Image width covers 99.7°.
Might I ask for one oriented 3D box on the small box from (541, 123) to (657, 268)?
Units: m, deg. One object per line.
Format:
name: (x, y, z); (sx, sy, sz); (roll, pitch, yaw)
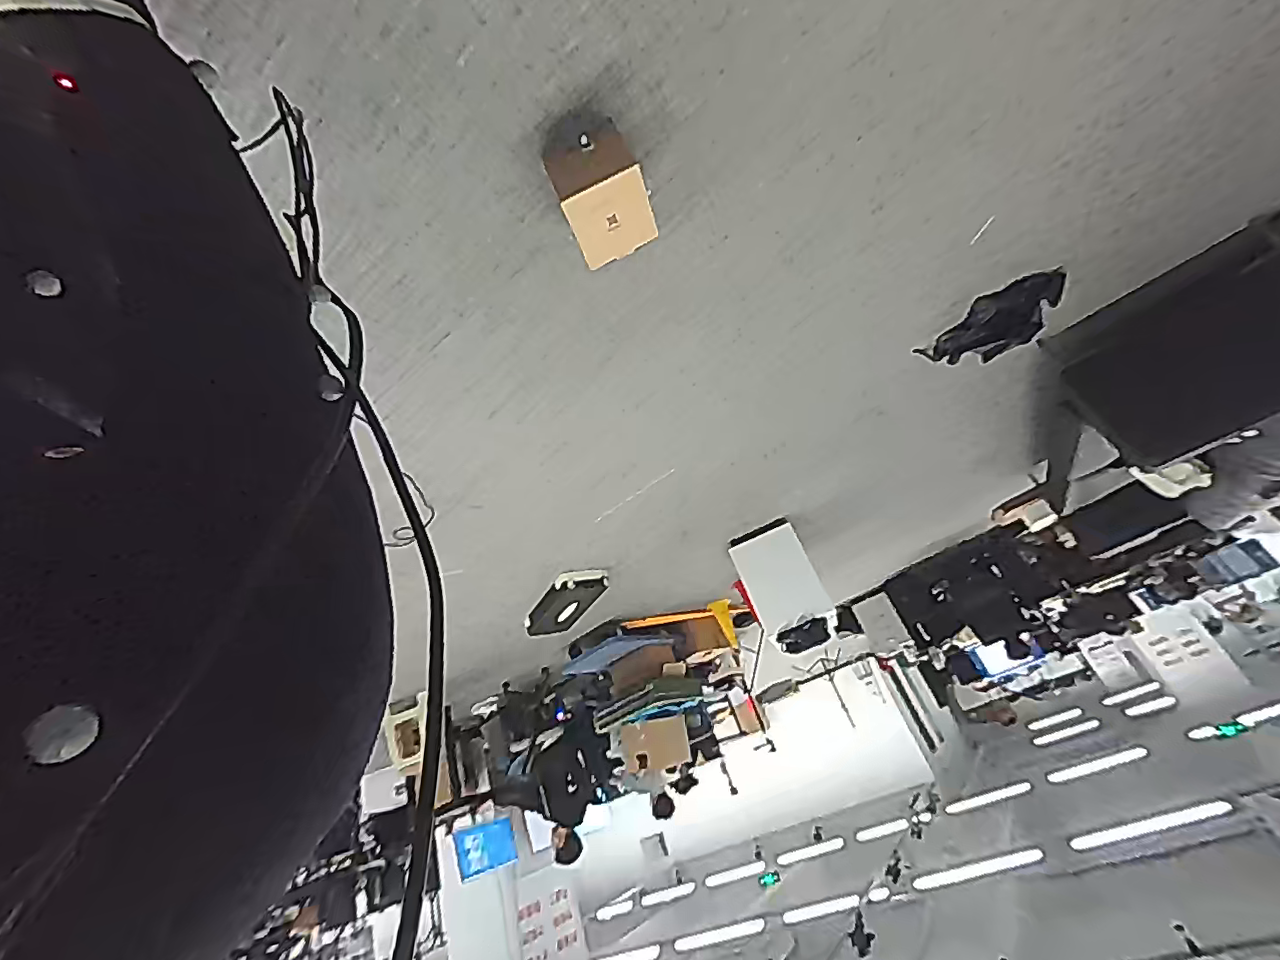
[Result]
small box: (-0.084, -0.588, 1.122); (0.168, 0.176, 0.179); (-25, 150, 5)
